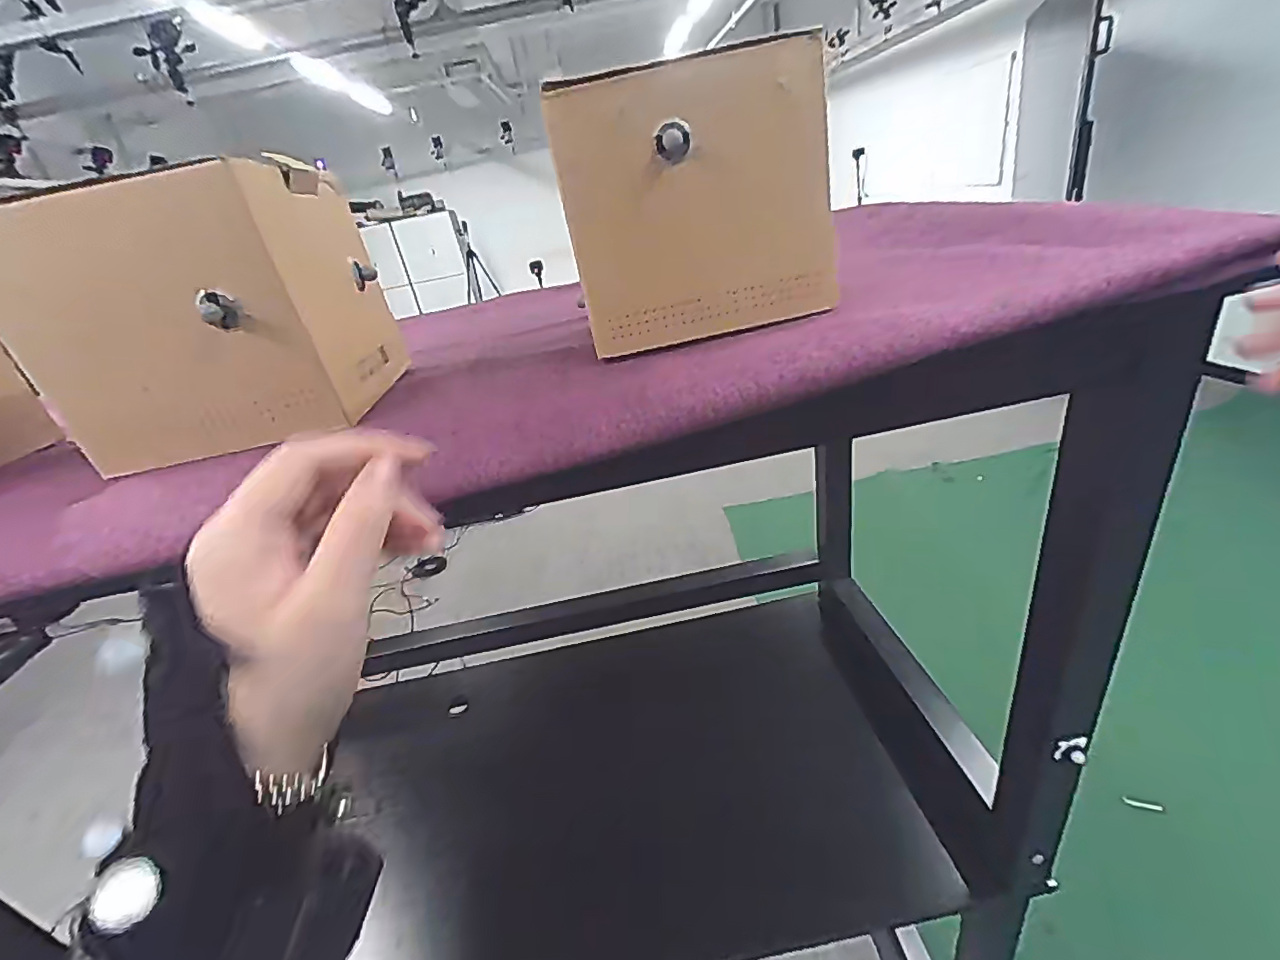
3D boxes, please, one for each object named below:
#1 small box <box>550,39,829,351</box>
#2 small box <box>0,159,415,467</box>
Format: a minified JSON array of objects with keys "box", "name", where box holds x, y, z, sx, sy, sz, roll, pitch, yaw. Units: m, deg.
[{"box":[0.039,-0.212,0.439,0.179,0.176,0.168,-11,25,1],"name":"small box"},{"box":[-0.300,-0.128,0.414,0.179,0.176,0.168,-13,26,-1],"name":"small box"}]
